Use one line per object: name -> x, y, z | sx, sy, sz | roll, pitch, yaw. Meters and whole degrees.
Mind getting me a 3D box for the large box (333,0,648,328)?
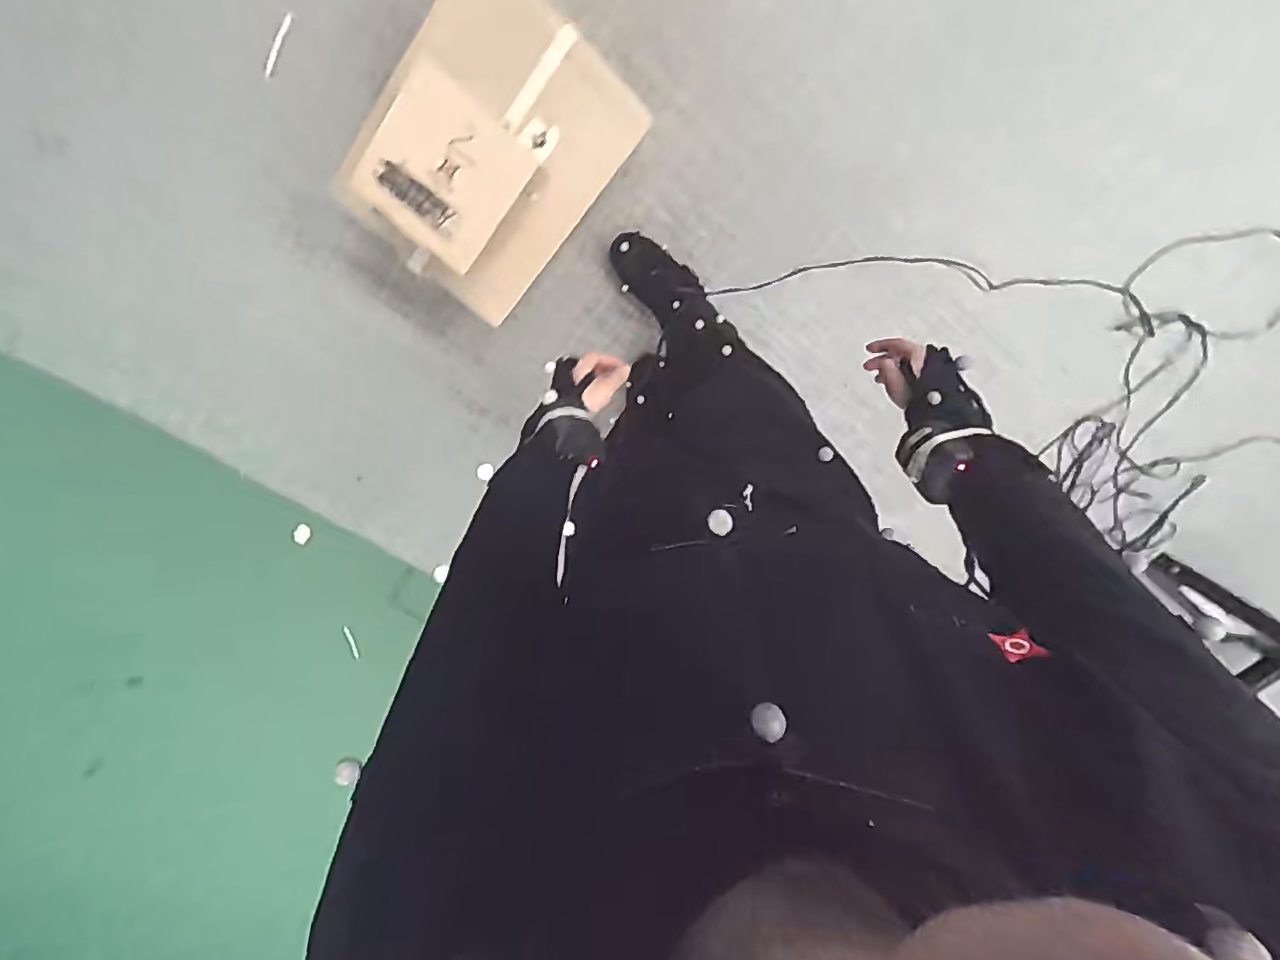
large box -> -0.237, -0.538, 0.941 | 0.320, 0.320, 0.408 | 37, 107, -19
